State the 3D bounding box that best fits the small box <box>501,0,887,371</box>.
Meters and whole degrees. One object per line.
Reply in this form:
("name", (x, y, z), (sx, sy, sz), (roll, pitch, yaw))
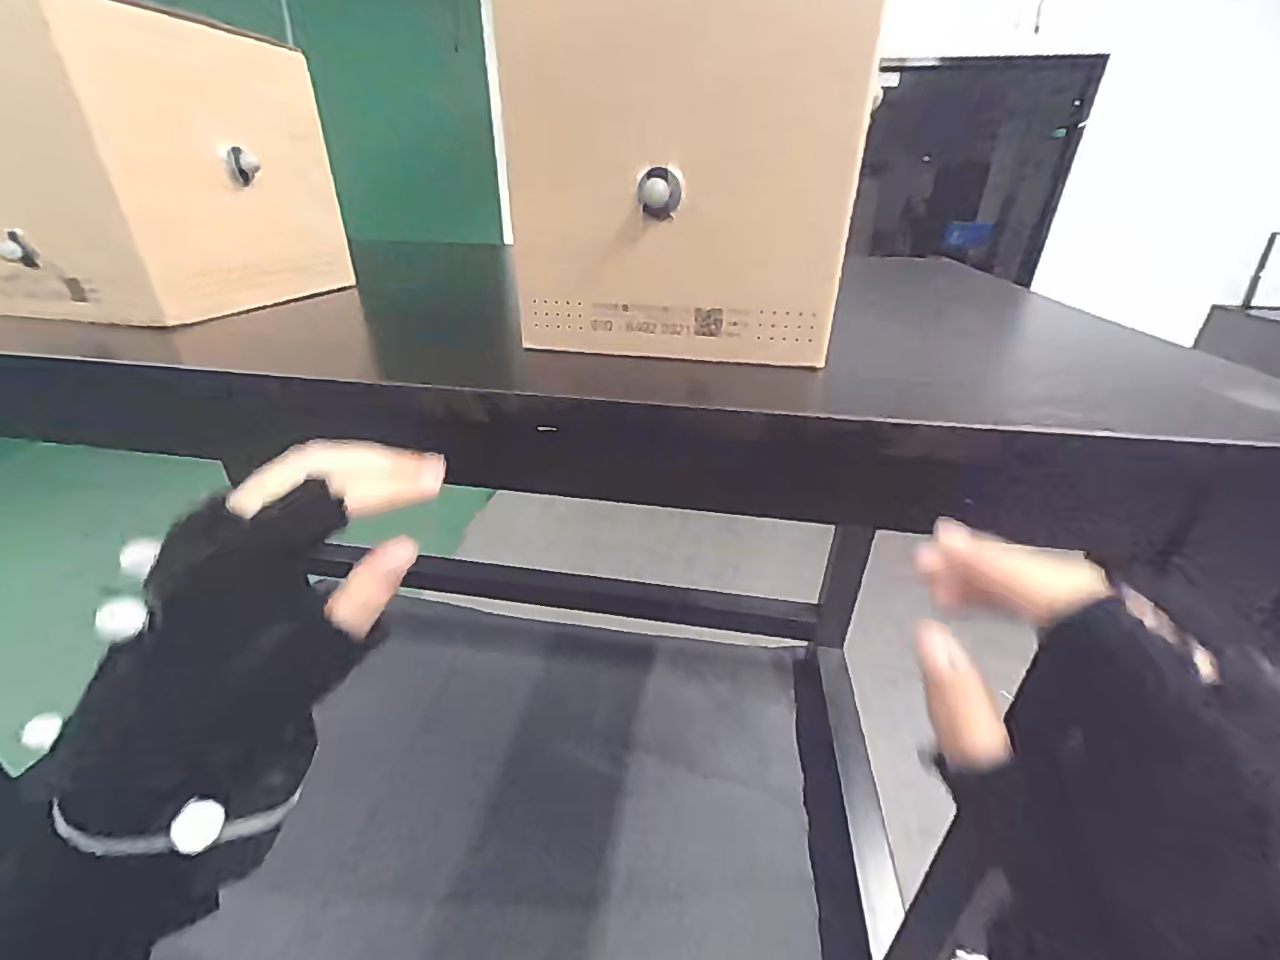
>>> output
("small box", (0.035, -0.173, 0.328), (0.168, 0.176, 0.179), (7, 29, 9))
